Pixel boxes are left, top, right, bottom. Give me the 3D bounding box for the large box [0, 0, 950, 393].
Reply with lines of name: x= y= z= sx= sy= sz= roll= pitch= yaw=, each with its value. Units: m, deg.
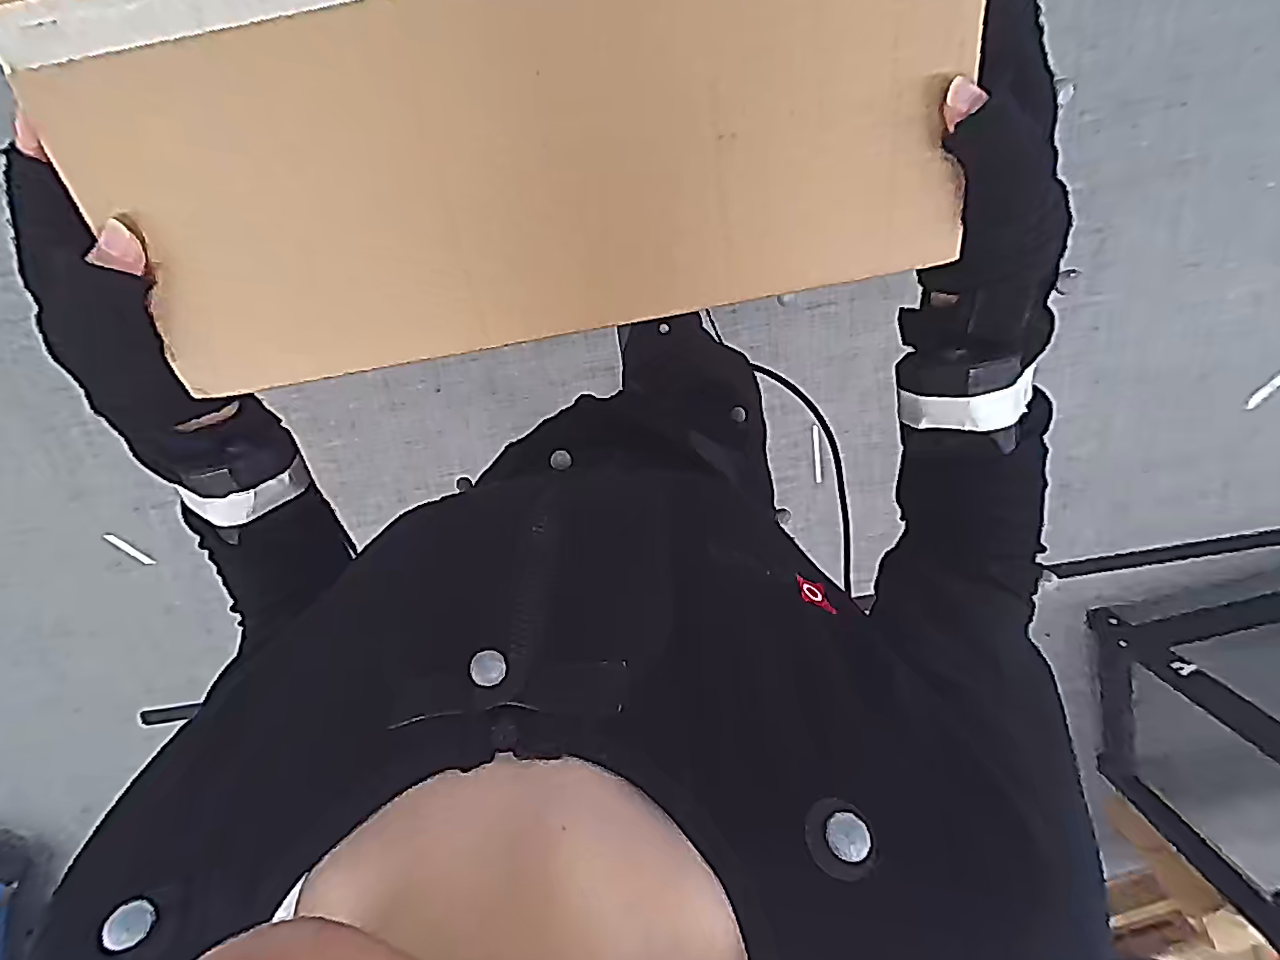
large box: x=-0.071 y=-0.284 z=0.356 sx=0.408 sy=0.320 sz=0.320 roll=-10 pitch=115 yaw=4
